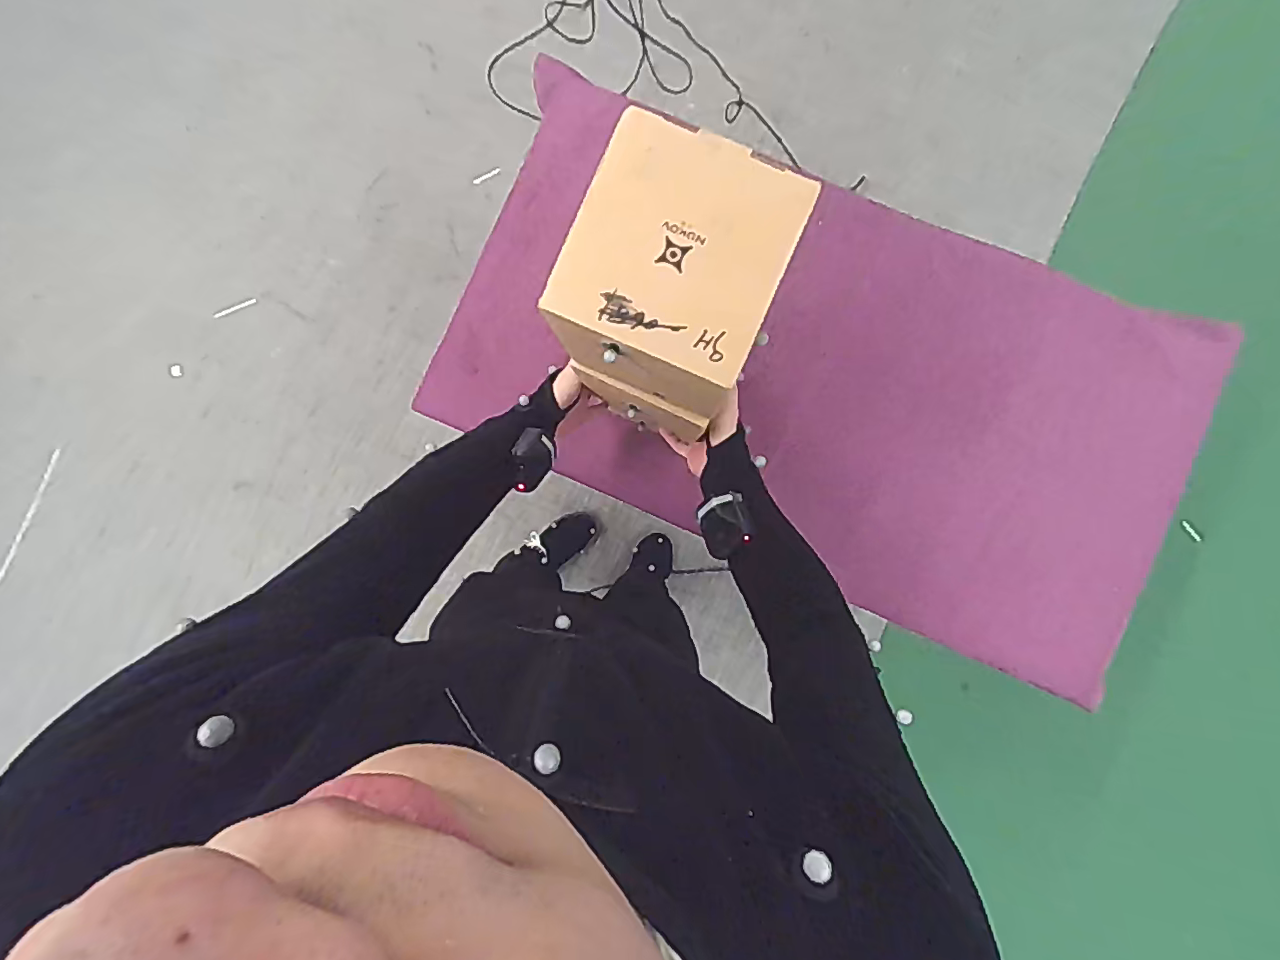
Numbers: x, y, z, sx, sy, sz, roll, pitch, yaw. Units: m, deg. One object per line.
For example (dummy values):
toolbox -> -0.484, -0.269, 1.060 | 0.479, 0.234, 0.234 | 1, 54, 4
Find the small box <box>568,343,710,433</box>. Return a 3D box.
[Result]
small box -> 0.035, -0.170, 0.652 | 0.168, 0.176, 0.179 | 26, 89, 2

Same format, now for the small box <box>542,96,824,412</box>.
small box -> 0.034, -0.181, 0.488 | 0.168, 0.176, 0.179 | 24, 89, 3
